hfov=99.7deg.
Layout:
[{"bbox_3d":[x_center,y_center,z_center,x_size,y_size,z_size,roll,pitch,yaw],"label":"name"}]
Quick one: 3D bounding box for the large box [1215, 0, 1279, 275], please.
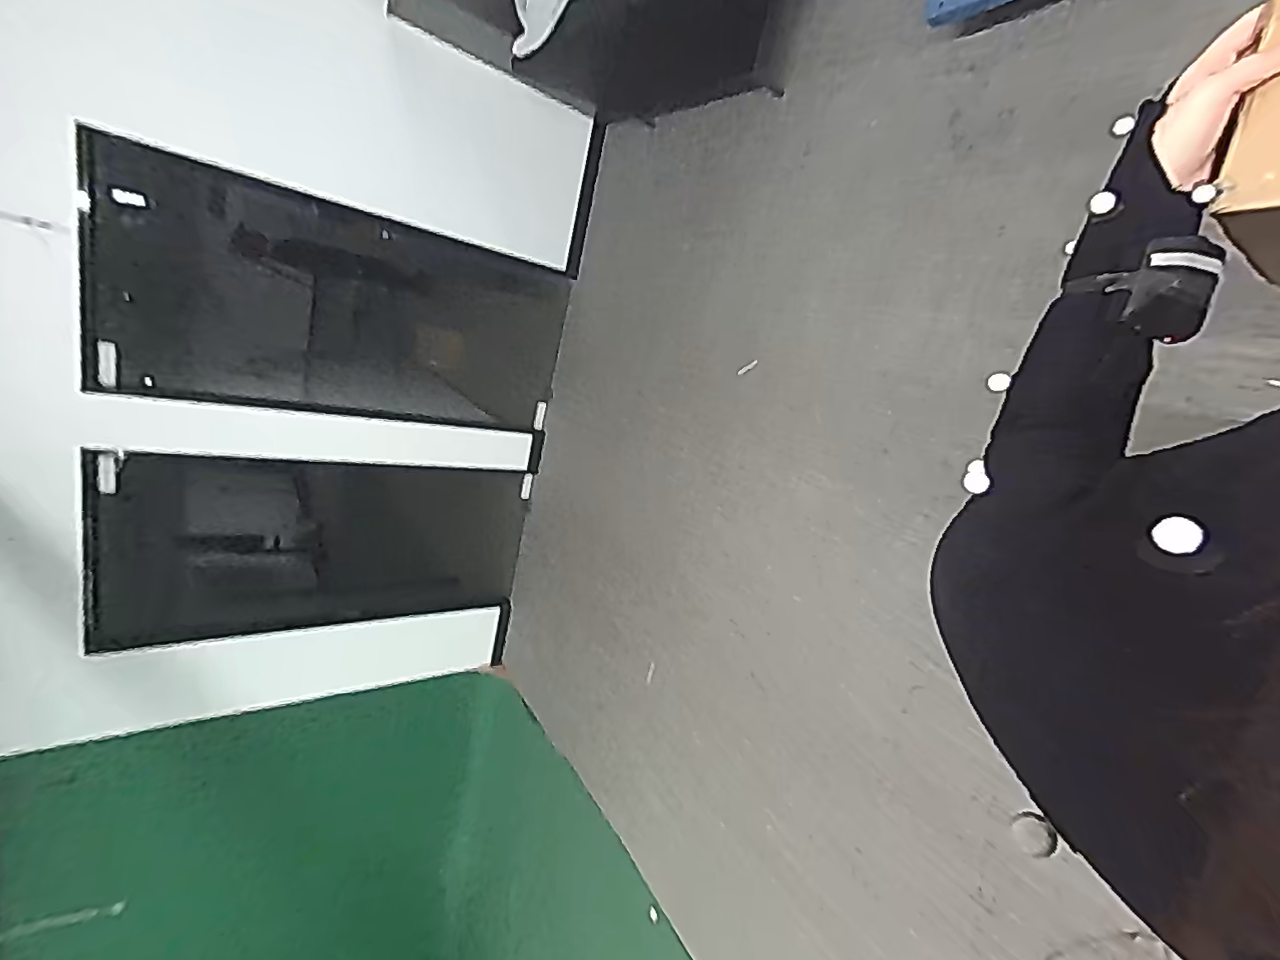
[{"bbox_3d":[0.674,-0.304,0.295,0.408,0.320,0.320,22,108,55],"label":"large box"}]
